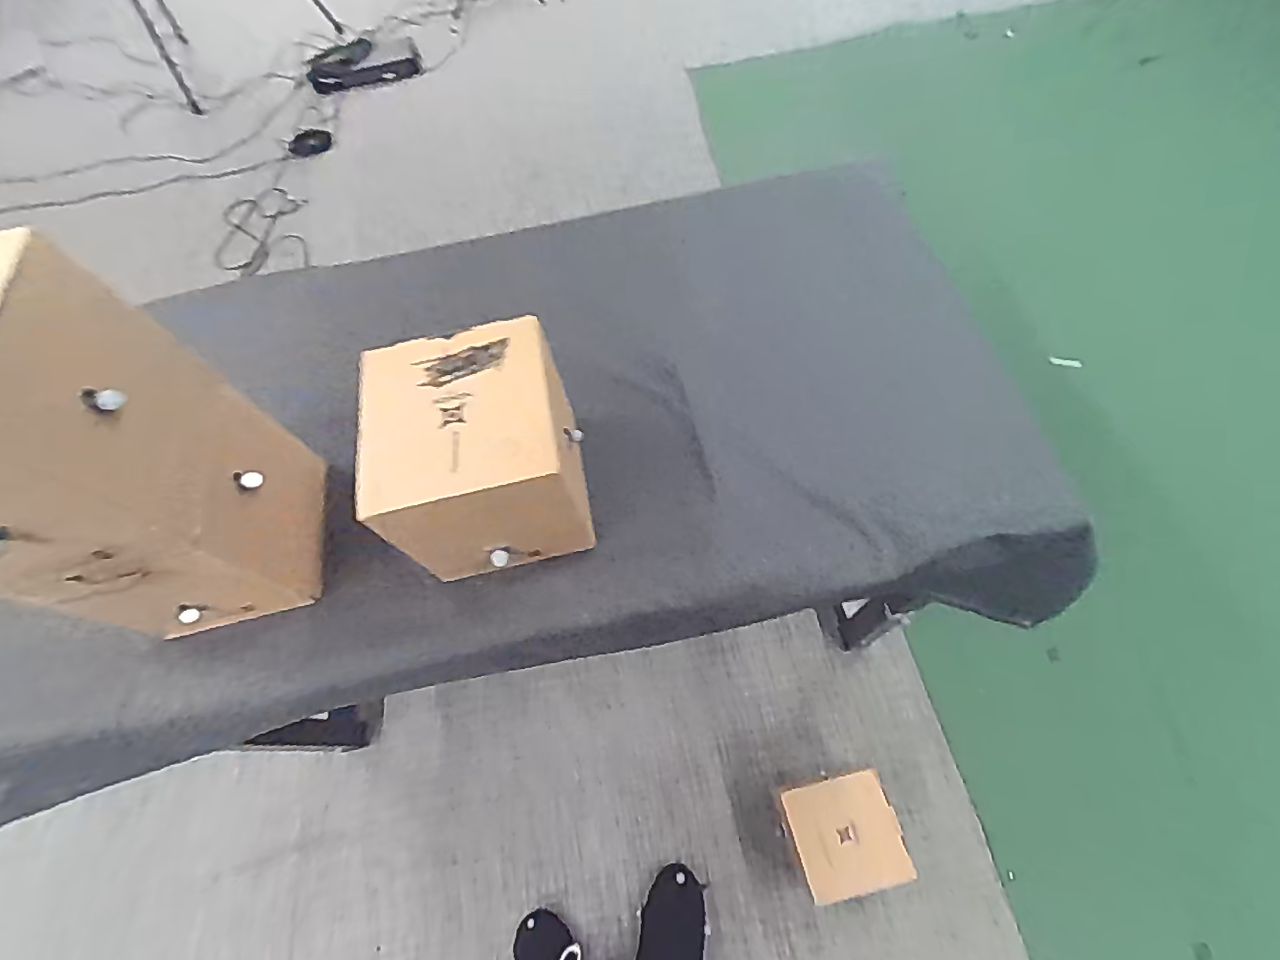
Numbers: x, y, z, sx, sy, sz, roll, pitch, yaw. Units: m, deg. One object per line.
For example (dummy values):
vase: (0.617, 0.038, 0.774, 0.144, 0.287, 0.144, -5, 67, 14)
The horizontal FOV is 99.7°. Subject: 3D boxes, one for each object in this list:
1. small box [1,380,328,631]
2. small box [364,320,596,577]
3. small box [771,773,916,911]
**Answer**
small box: (-0.441, 0.033, 0.542, 0.168, 0.176, 0.179, -14, 62, -2)
small box: (-0.147, -0.024, 0.538, 0.168, 0.176, 0.179, -13, 61, 0)
small box: (0.350, 0.633, 0.968, 0.179, 0.176, 0.168, -14, 61, -1)
